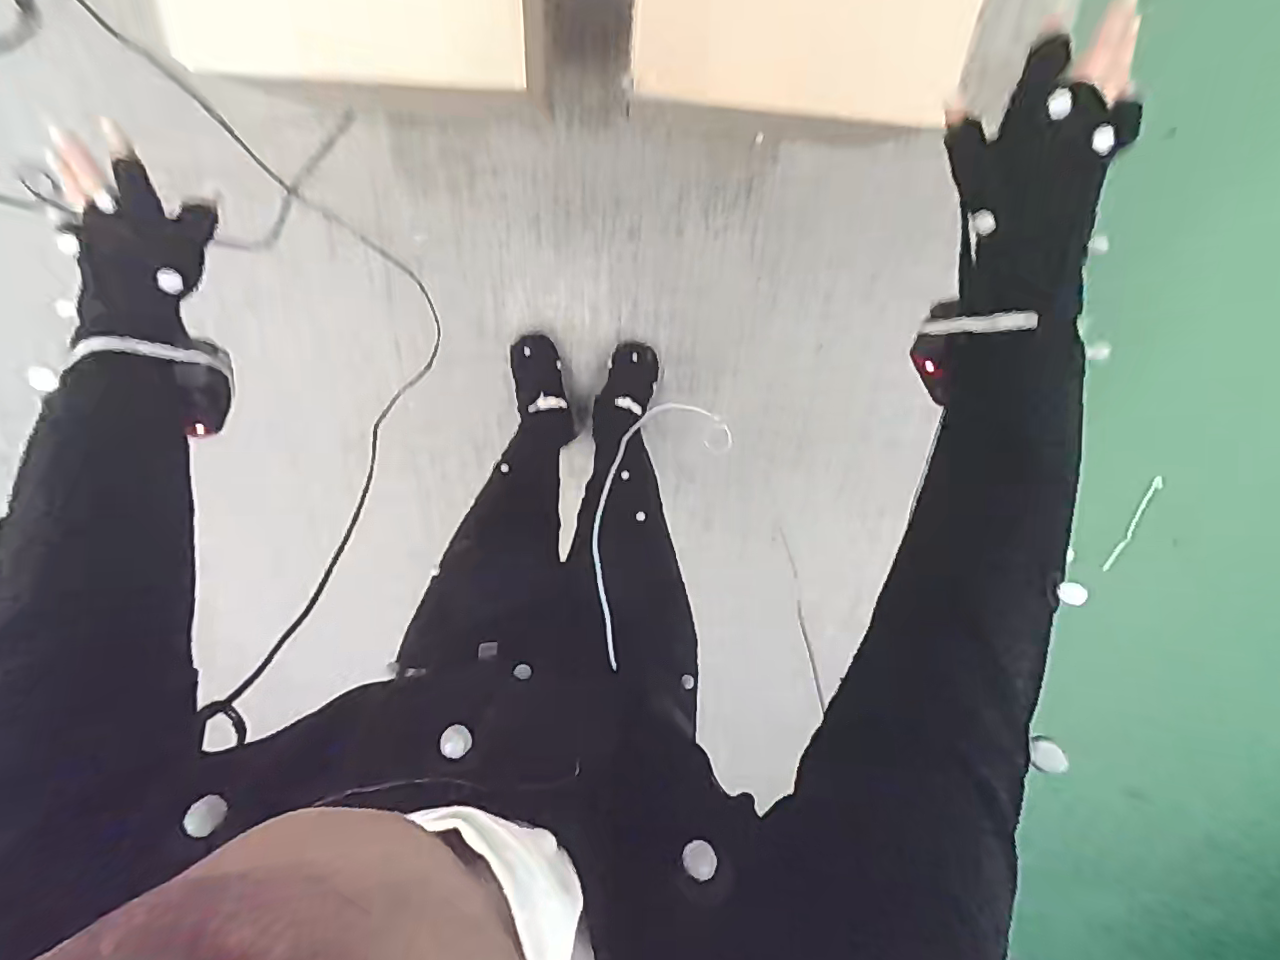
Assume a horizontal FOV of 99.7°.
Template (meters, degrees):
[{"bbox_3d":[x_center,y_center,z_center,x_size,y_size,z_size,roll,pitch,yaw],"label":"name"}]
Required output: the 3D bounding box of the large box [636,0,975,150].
[{"bbox_3d":[0.206,-0.668,0.764,0.408,0.320,0.320,4,116,-3],"label":"large box"}]
